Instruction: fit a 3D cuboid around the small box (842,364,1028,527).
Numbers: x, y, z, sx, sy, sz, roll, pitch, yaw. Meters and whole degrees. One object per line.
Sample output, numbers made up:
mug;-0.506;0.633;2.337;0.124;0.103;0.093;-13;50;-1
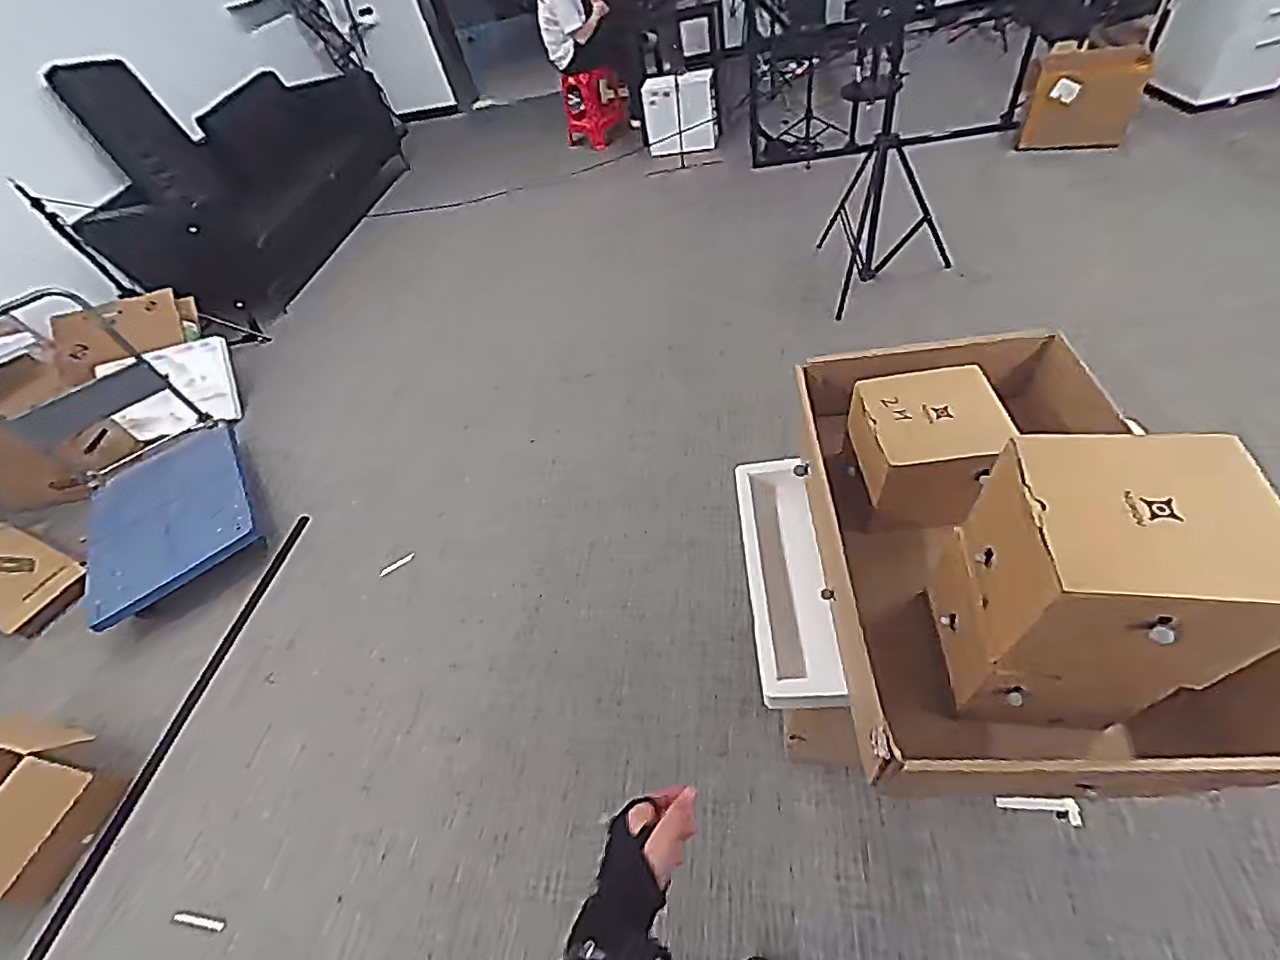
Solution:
small box;0.417;-0.046;0.802;0.179;0.176;0.168;-7;52;6
